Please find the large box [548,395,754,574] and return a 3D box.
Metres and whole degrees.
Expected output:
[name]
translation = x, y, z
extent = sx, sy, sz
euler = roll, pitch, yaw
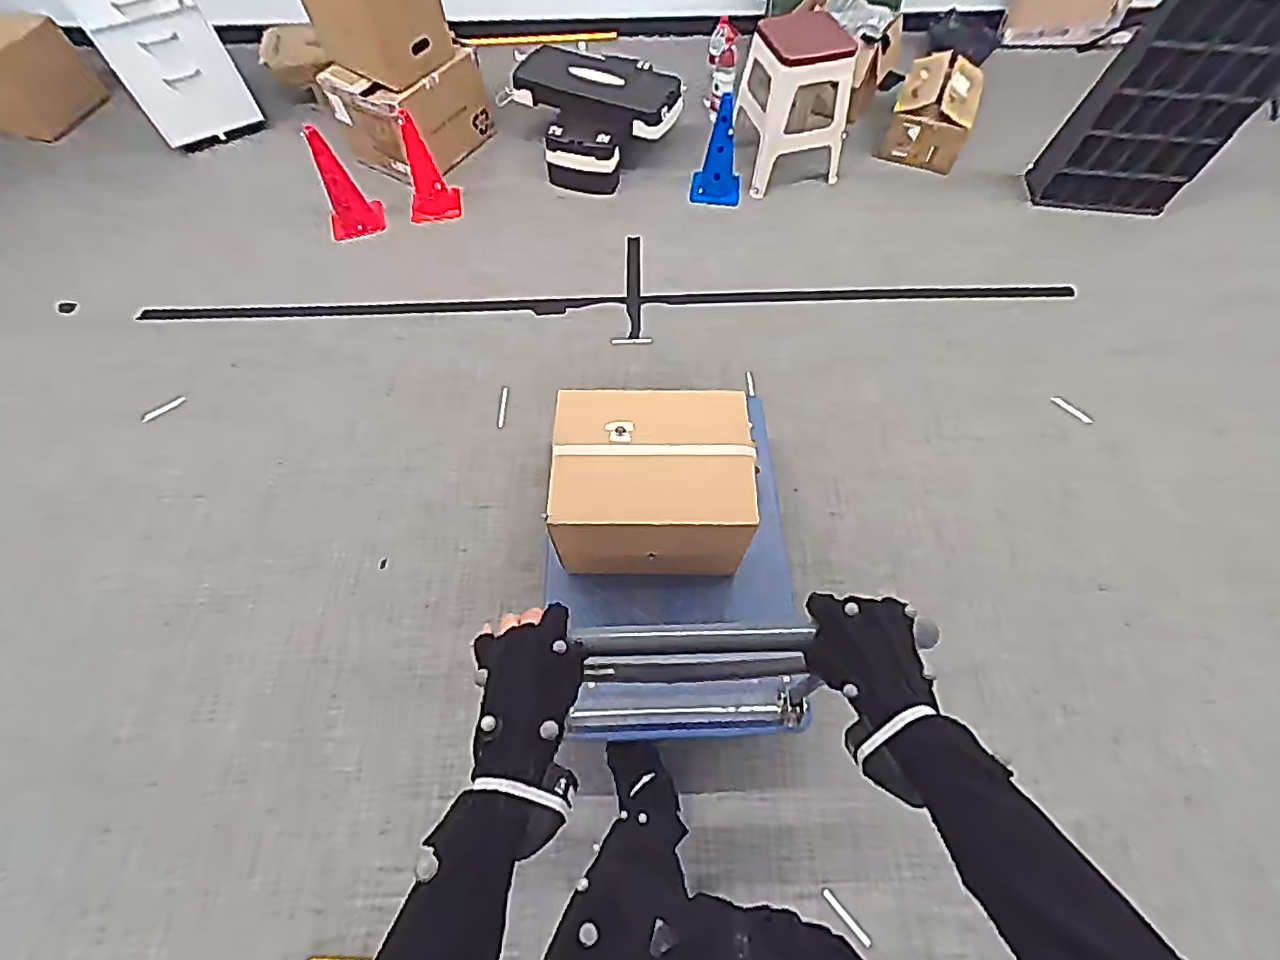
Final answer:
[large box]
translation = 0.023, 0.023, 1.234
extent = 0.408, 0.320, 0.320
euler = 0, 62, 1
